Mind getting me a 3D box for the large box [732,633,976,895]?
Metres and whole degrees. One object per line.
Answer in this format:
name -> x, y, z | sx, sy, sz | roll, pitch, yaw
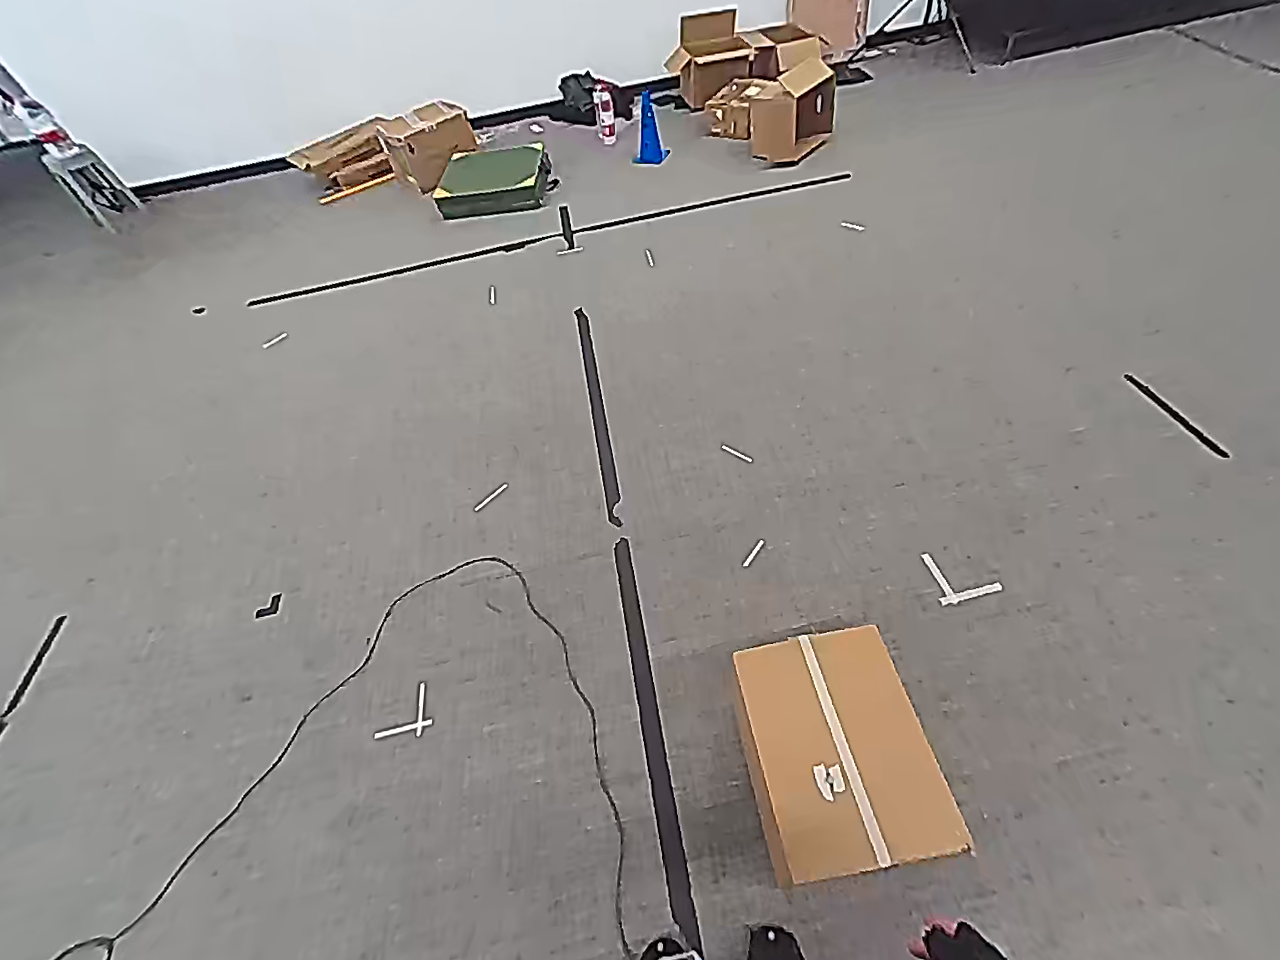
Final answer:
large box -> 0.397, 0.593, 1.137 | 0.320, 0.320, 0.408 | -12, 52, 0
